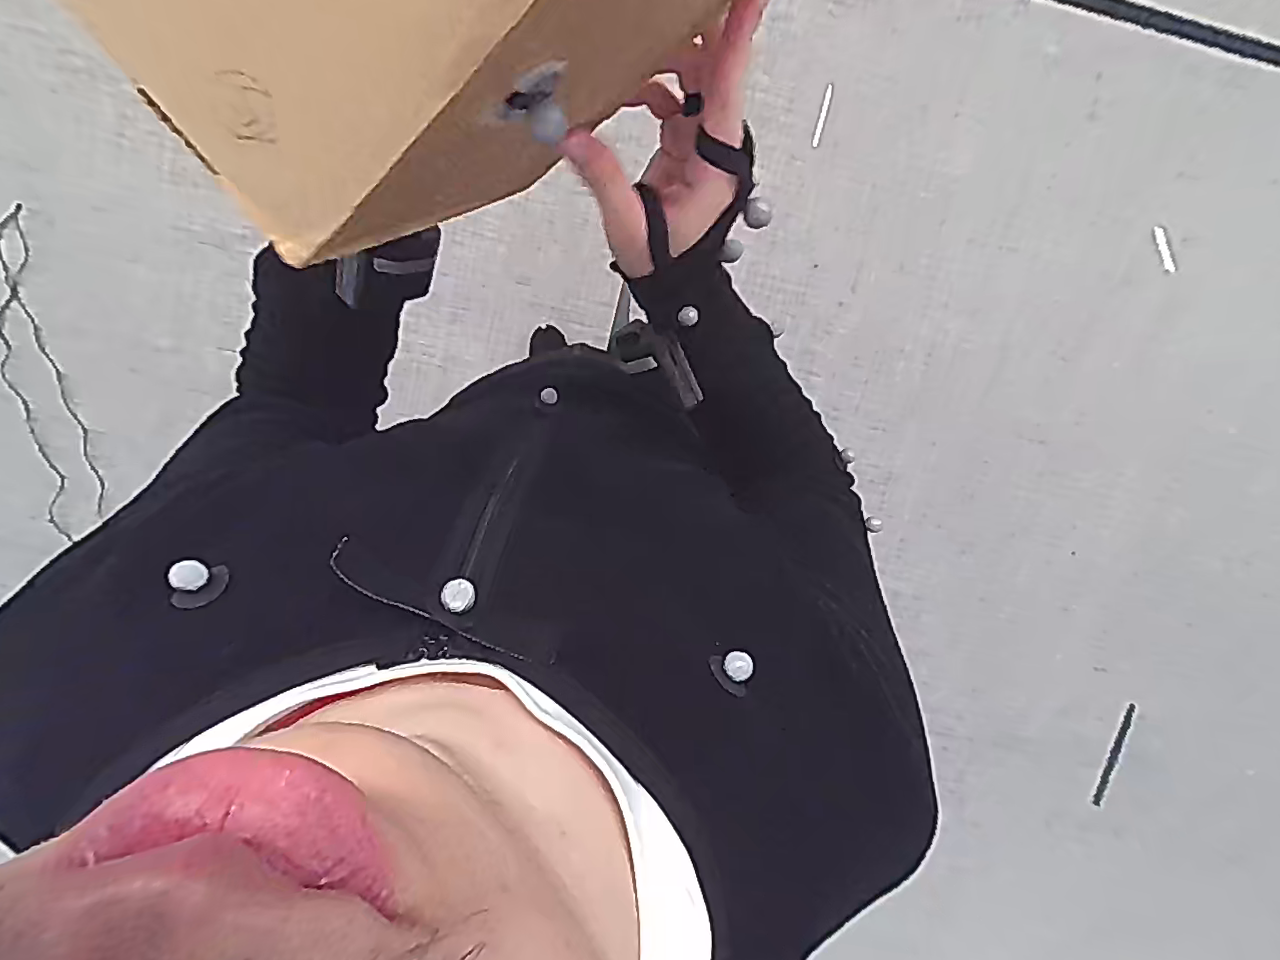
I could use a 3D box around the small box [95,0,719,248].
[{"bbox_3d":[-0.065,-0.210,0.169,0.179,0.176,0.168,-23,116,32],"label":"small box"}]
